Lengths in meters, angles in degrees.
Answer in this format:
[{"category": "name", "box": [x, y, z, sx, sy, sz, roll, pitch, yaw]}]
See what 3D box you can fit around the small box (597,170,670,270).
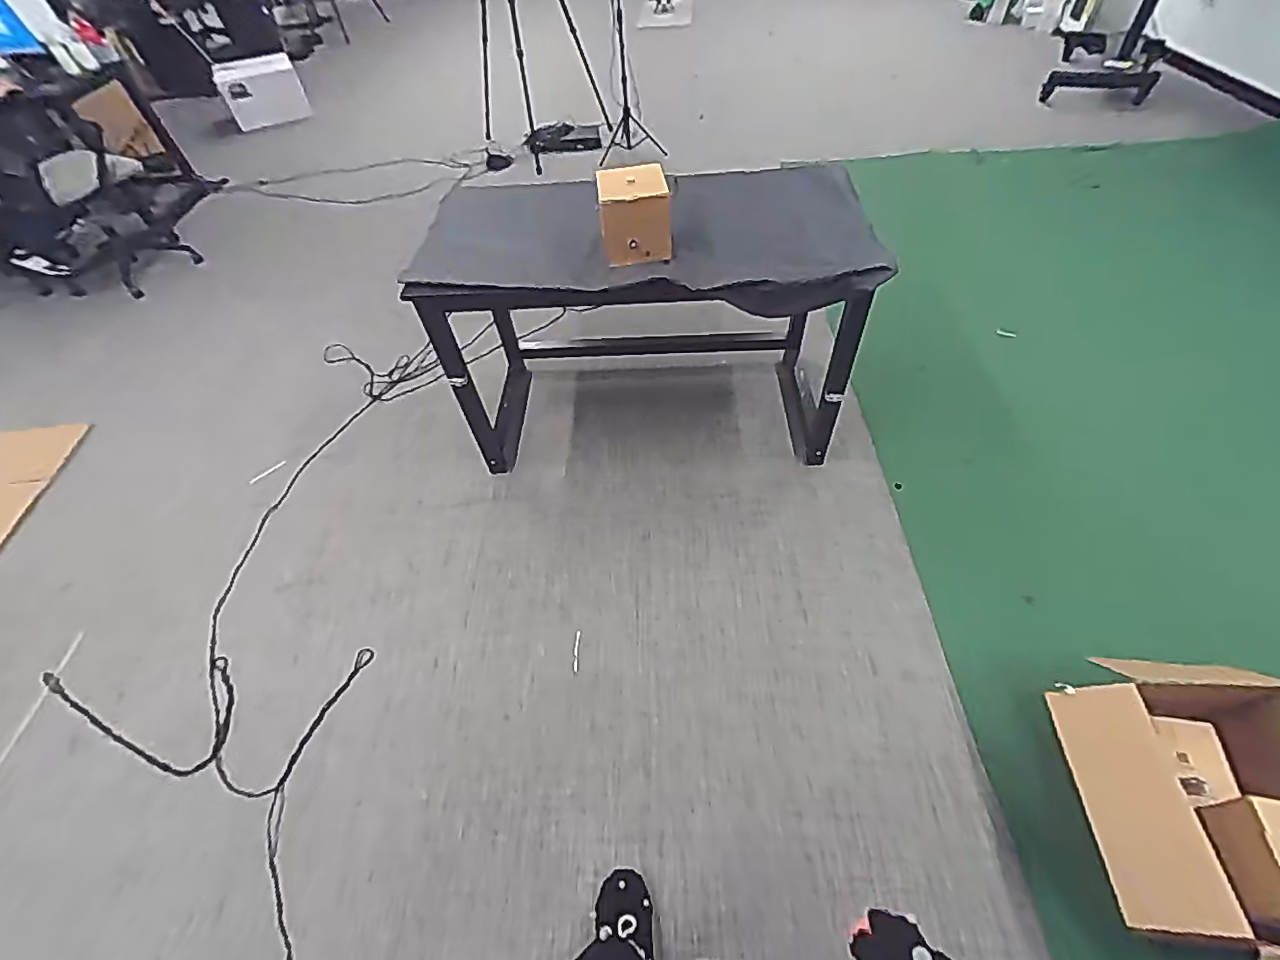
[{"category": "small box", "box": [-0.017, -0.660, 1.377, 0.168, 0.176, 0.179, -8, 51, -2]}]
